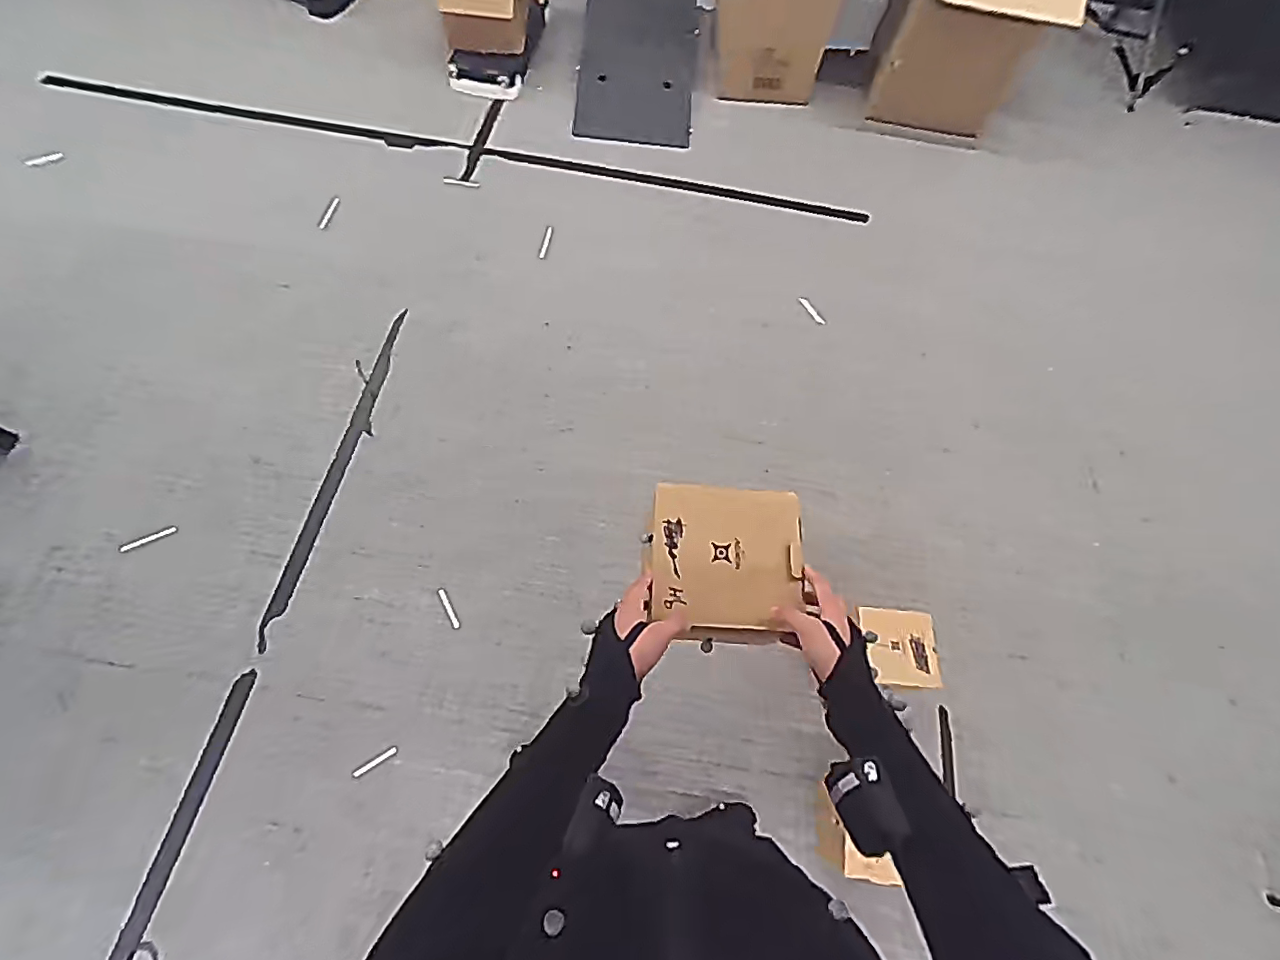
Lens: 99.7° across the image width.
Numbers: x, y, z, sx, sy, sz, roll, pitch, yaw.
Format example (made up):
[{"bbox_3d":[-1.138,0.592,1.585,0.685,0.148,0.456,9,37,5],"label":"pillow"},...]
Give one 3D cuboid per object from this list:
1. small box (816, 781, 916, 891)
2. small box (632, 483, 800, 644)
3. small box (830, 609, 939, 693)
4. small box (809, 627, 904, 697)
[{"bbox_3d":[0.530,0.831,1.283,0.168,0.176,0.179,11,67,1],"label":"small box"},{"bbox_3d":[0.088,0.116,0.691,0.179,0.176,0.168,5,68,-4],"label":"small box"},{"bbox_3d":[0.574,0.411,1.287,0.179,0.176,0.168,6,66,-1],"label":"small box"},{"bbox_3d":[0.566,0.483,1.434,0.179,0.176,0.168,4,66,-2],"label":"small box"}]
